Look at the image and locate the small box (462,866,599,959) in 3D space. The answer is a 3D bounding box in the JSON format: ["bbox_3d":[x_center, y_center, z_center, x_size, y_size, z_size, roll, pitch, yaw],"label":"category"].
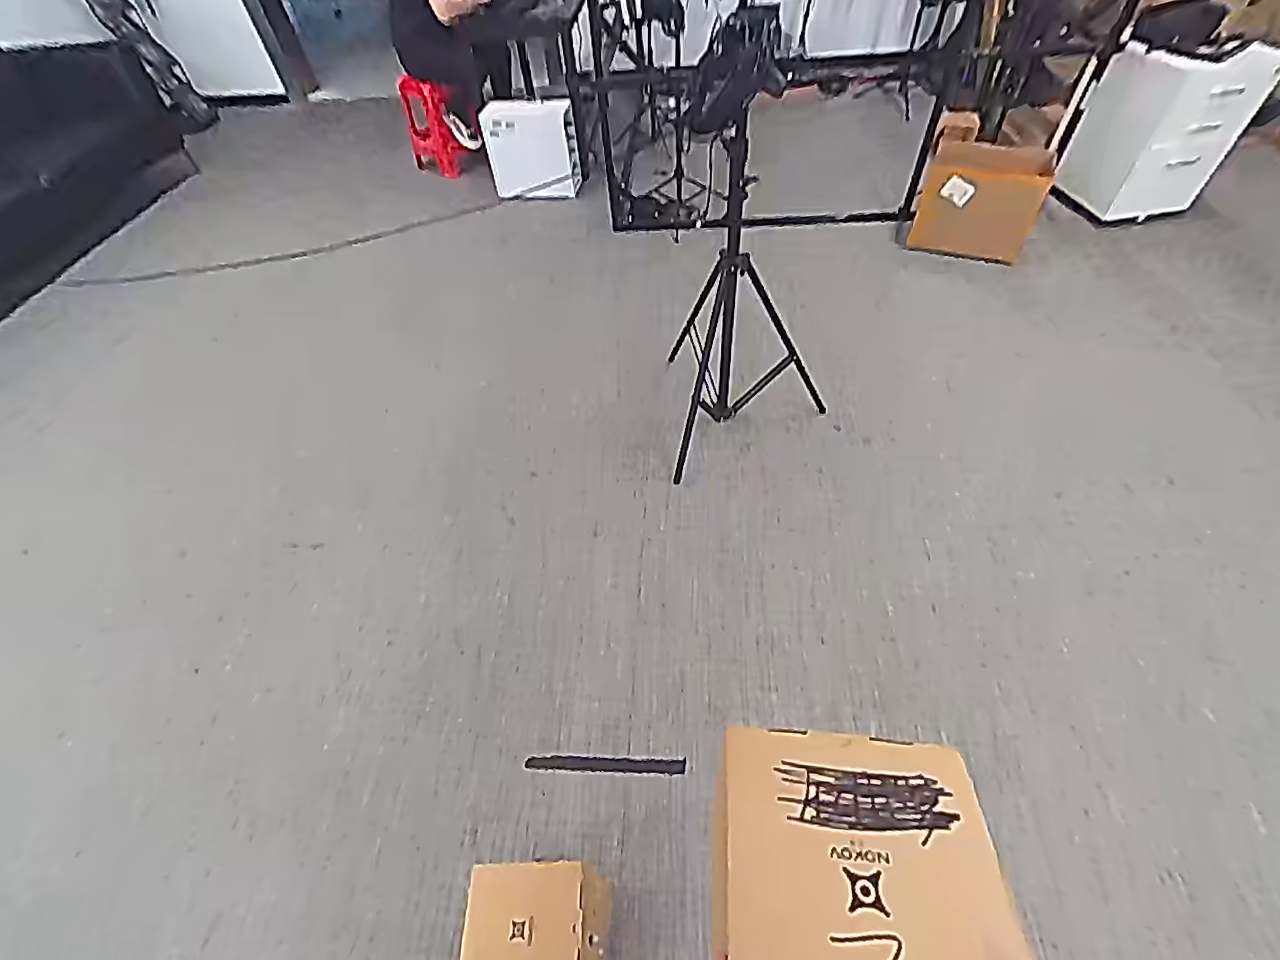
[{"bbox_3d":[-0.164,0.717,0.848,0.179,0.176,0.168,-3,50,2],"label":"small box"}]

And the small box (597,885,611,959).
[{"bbox_3d":[-0.149,0.827,0.967,0.168,0.176,0.179,2,50,7],"label":"small box"}]
